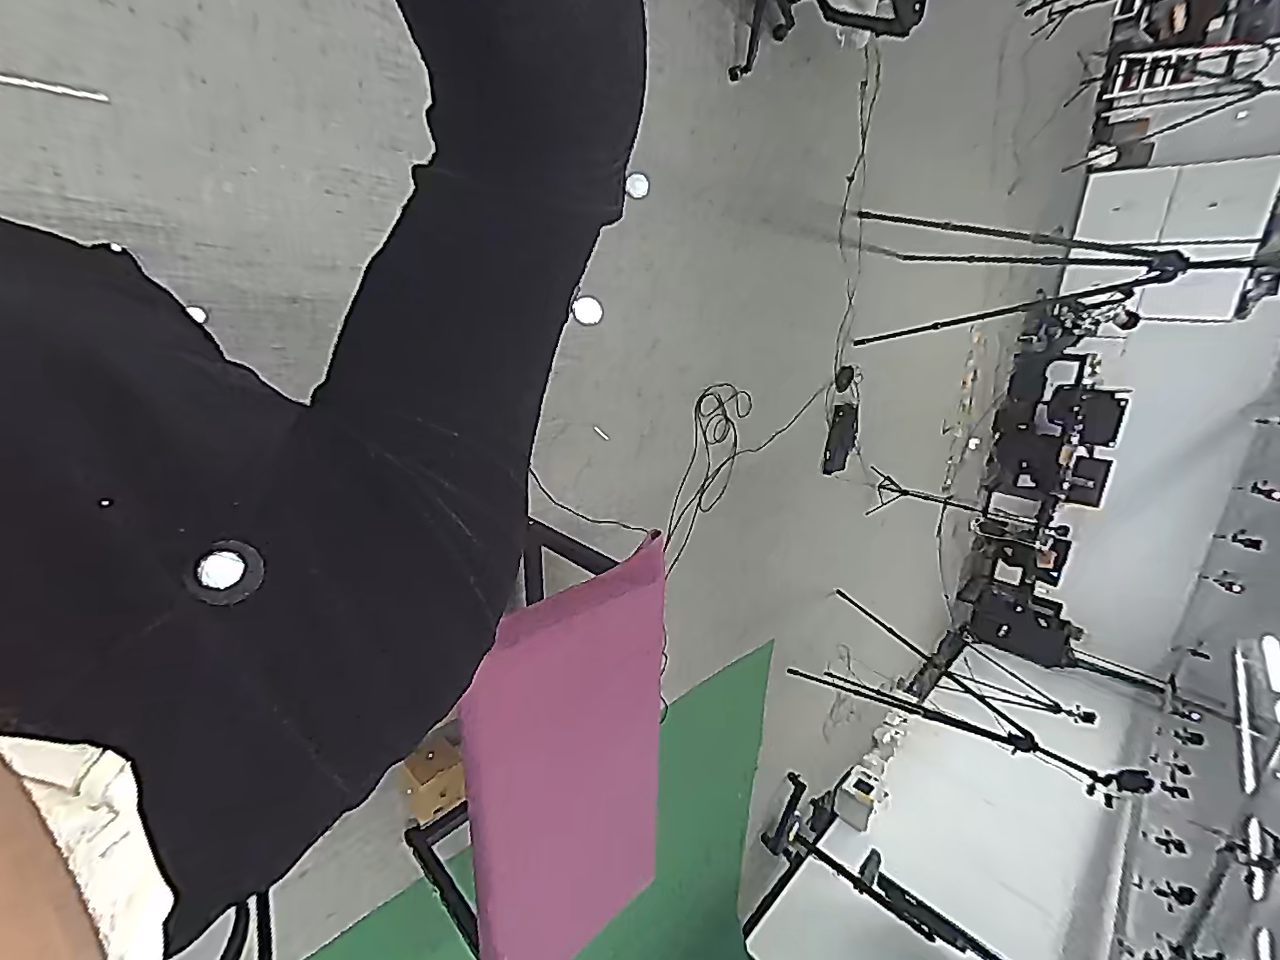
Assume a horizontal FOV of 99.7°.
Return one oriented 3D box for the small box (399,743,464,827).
[{"bbox_3d":[-0.745,1.073,1.929,0.168,0.176,0.179,-12,112,-43],"label":"small box"}]
